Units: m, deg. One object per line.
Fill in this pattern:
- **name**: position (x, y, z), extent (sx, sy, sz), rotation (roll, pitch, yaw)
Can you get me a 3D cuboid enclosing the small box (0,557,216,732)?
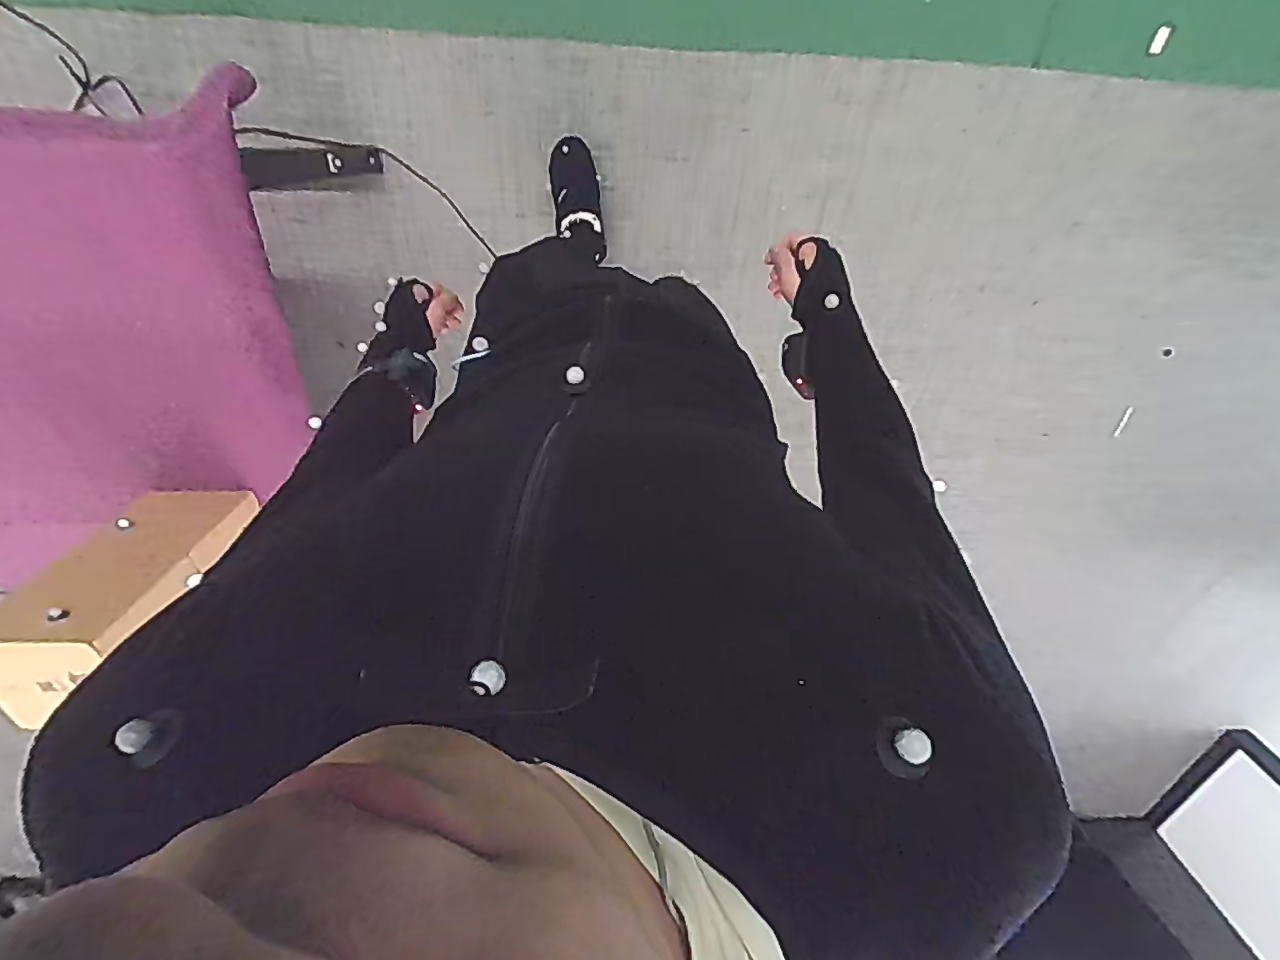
- **small box**: position (-0.734, 0.220, 0.743), extent (0.179, 0.176, 0.168), rotation (0, 121, -2)
